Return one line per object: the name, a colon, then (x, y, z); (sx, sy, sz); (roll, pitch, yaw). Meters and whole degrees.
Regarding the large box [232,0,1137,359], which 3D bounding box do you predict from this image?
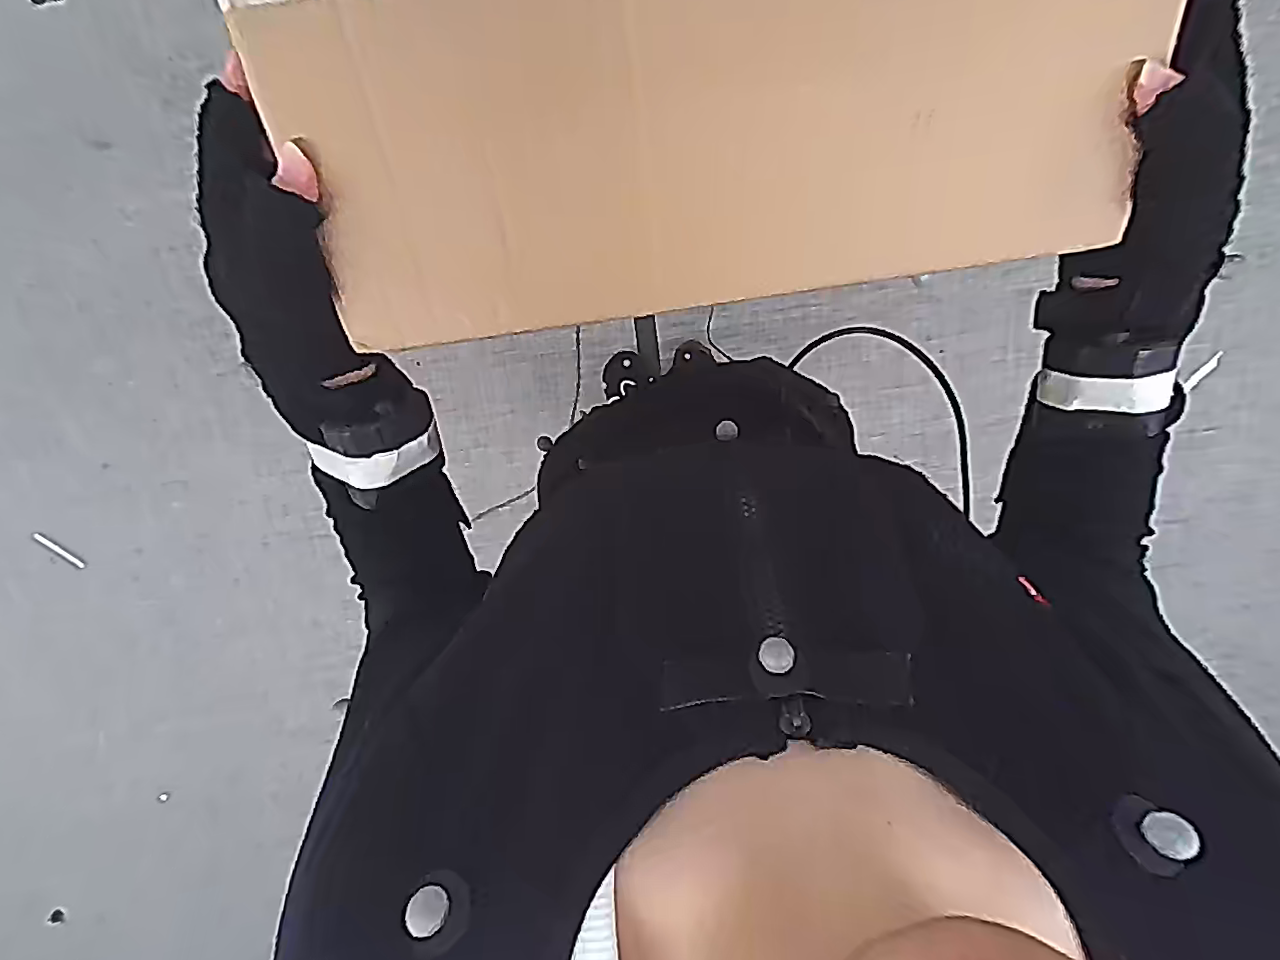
large box: (0.017, -0.299, 0.358); (0.408, 0.320, 0.320); (-8, 117, 2)
